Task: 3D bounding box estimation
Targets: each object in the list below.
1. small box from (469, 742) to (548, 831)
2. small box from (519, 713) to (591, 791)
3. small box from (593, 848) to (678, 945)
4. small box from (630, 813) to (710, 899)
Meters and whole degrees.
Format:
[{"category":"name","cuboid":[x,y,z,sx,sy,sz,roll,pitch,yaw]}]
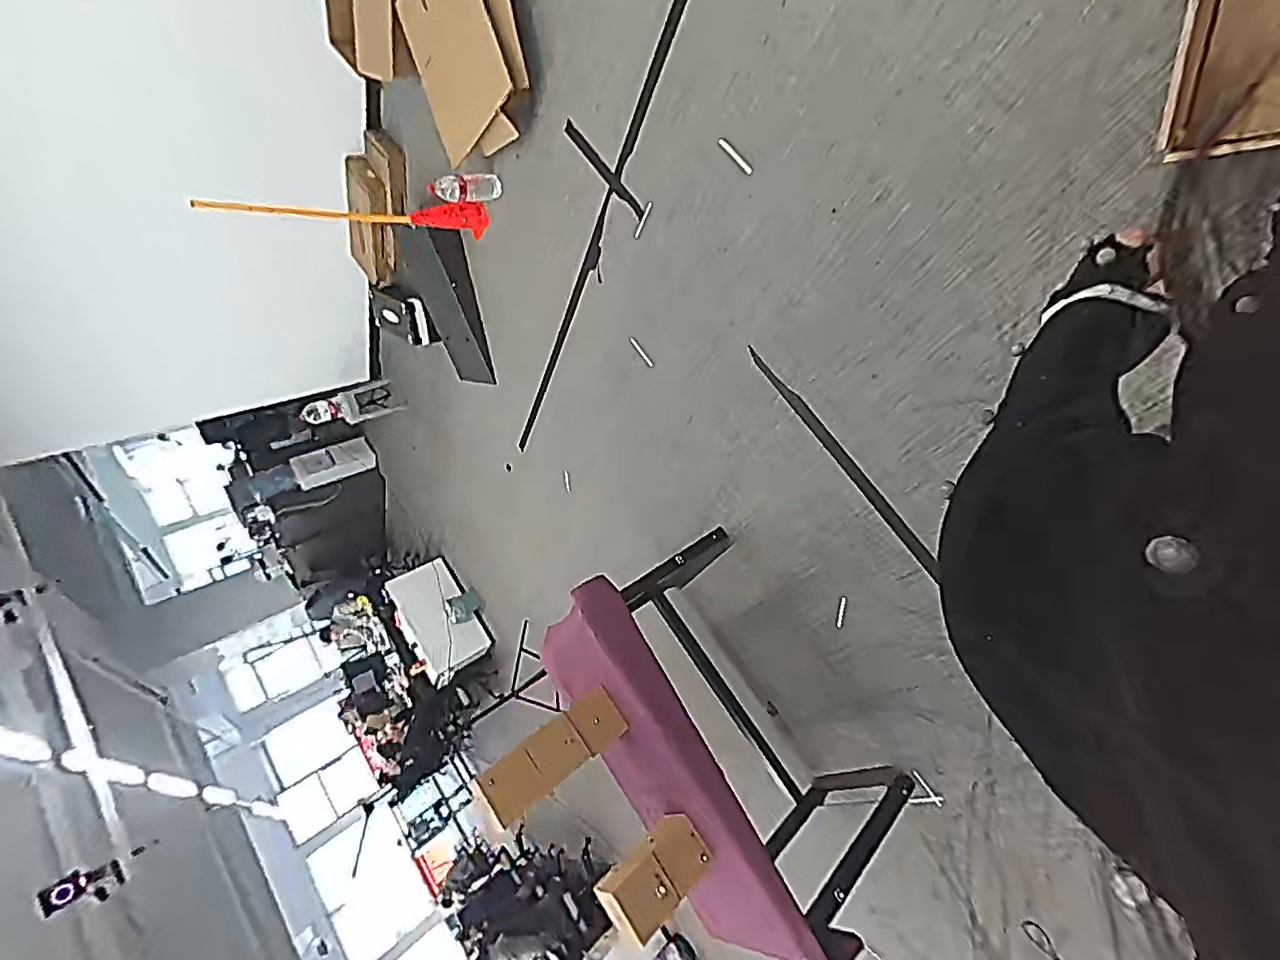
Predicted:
[{"category":"small box","cuboid":[-0.412,0.960,1.698,0.179,0.176,0.168,51,142,17]},{"category":"small box","cuboid":[-0.291,0.897,1.787,0.179,0.176,0.168,51,143,17]},{"category":"small box","cuboid":[-0.012,1.274,1.669,0.168,0.176,0.179,53,142,13]},{"category":"small box","cuboid":[0.104,1.225,1.772,0.168,0.176,0.179,54,144,14]}]
